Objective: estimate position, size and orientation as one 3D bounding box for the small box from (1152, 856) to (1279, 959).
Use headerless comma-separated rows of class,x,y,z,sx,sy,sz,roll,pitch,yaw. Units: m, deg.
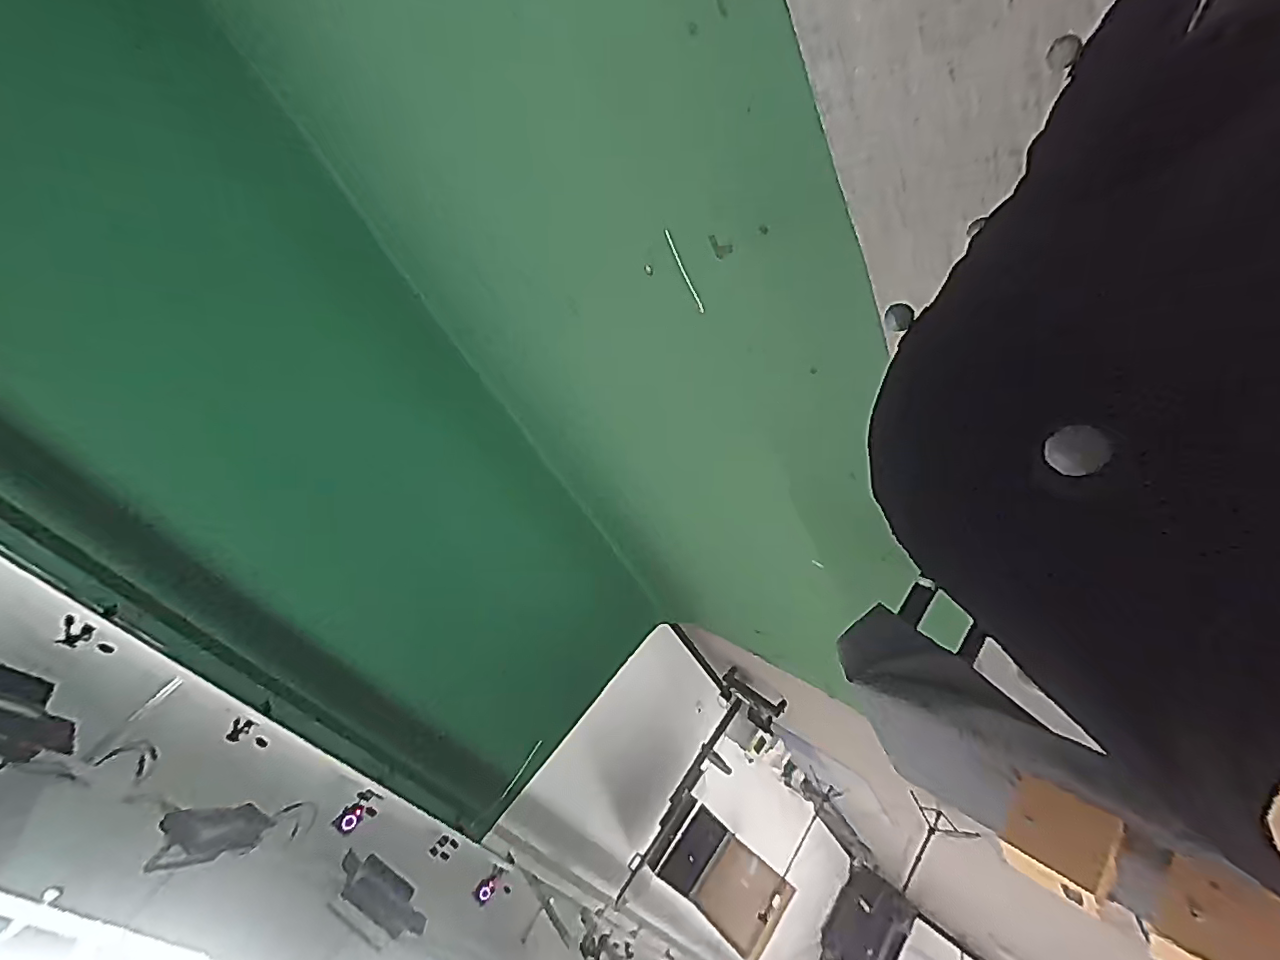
small box,1.099,0.859,1.017,0.168,0.176,0.179,15,147,51
